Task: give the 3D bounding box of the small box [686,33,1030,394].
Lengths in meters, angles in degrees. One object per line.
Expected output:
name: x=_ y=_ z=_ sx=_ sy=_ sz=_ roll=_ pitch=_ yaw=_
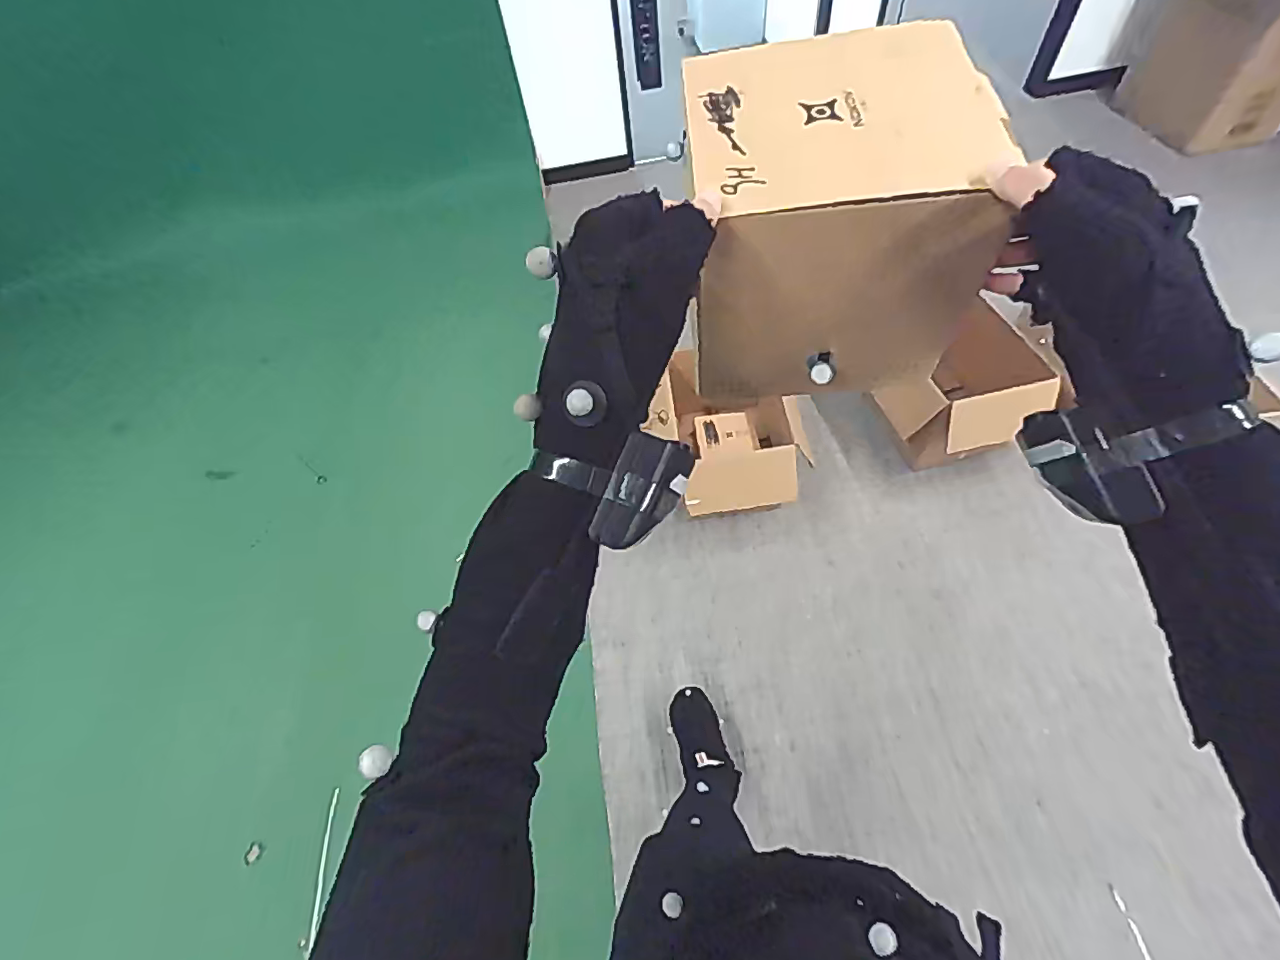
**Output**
small box: x=0.124 y=-0.178 z=0.392 sx=0.179 sy=0.176 sz=0.168 roll=-3 pitch=62 yaw=5
